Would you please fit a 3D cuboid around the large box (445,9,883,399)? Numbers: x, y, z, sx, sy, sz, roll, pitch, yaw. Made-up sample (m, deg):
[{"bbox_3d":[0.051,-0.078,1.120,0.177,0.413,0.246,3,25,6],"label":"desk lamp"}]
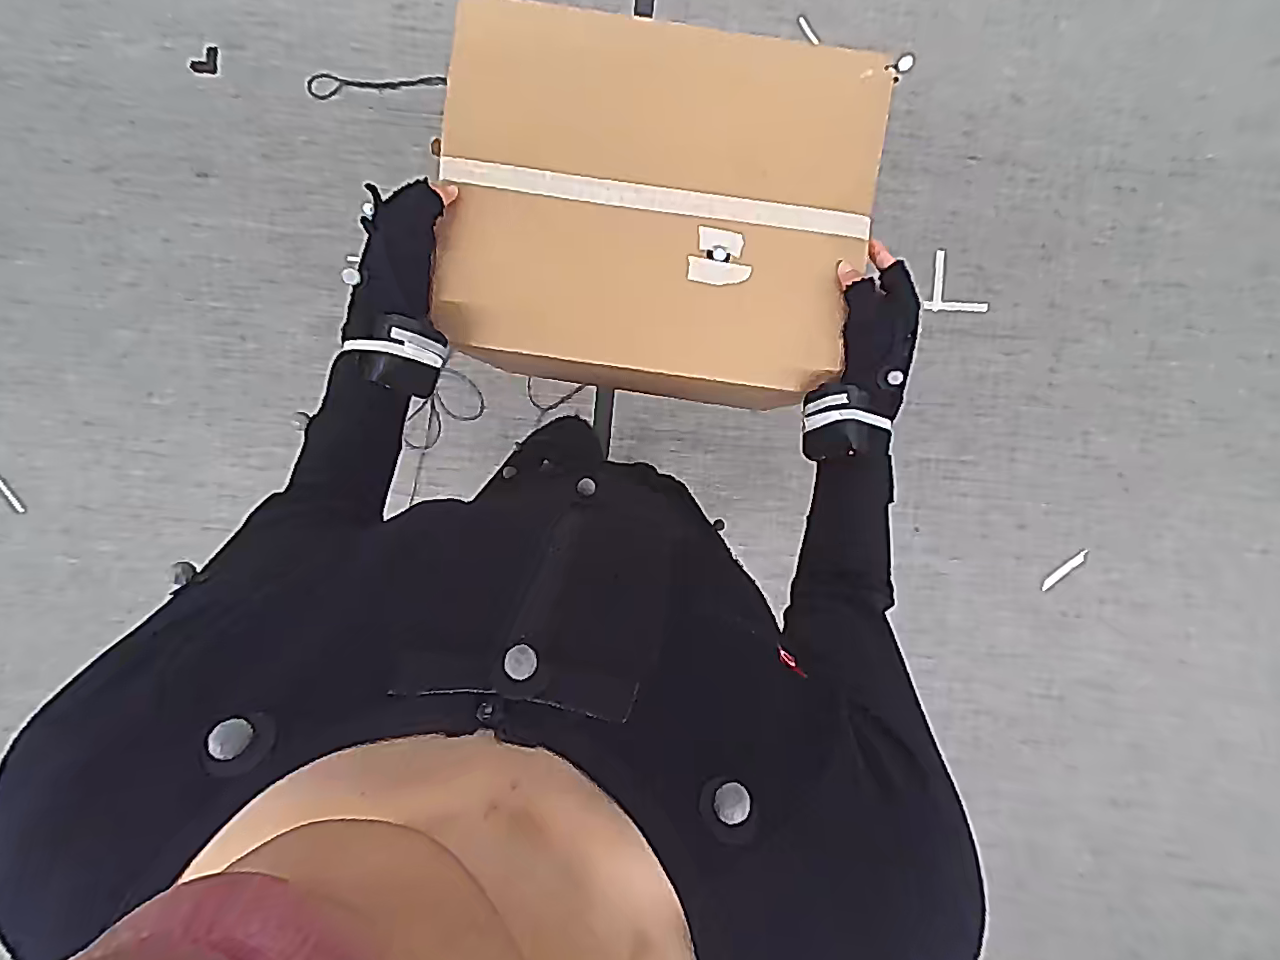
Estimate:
[{"bbox_3d":[0.016,-0.285,0.673,0.408,0.320,0.320,8,96,-1],"label":"large box"}]
